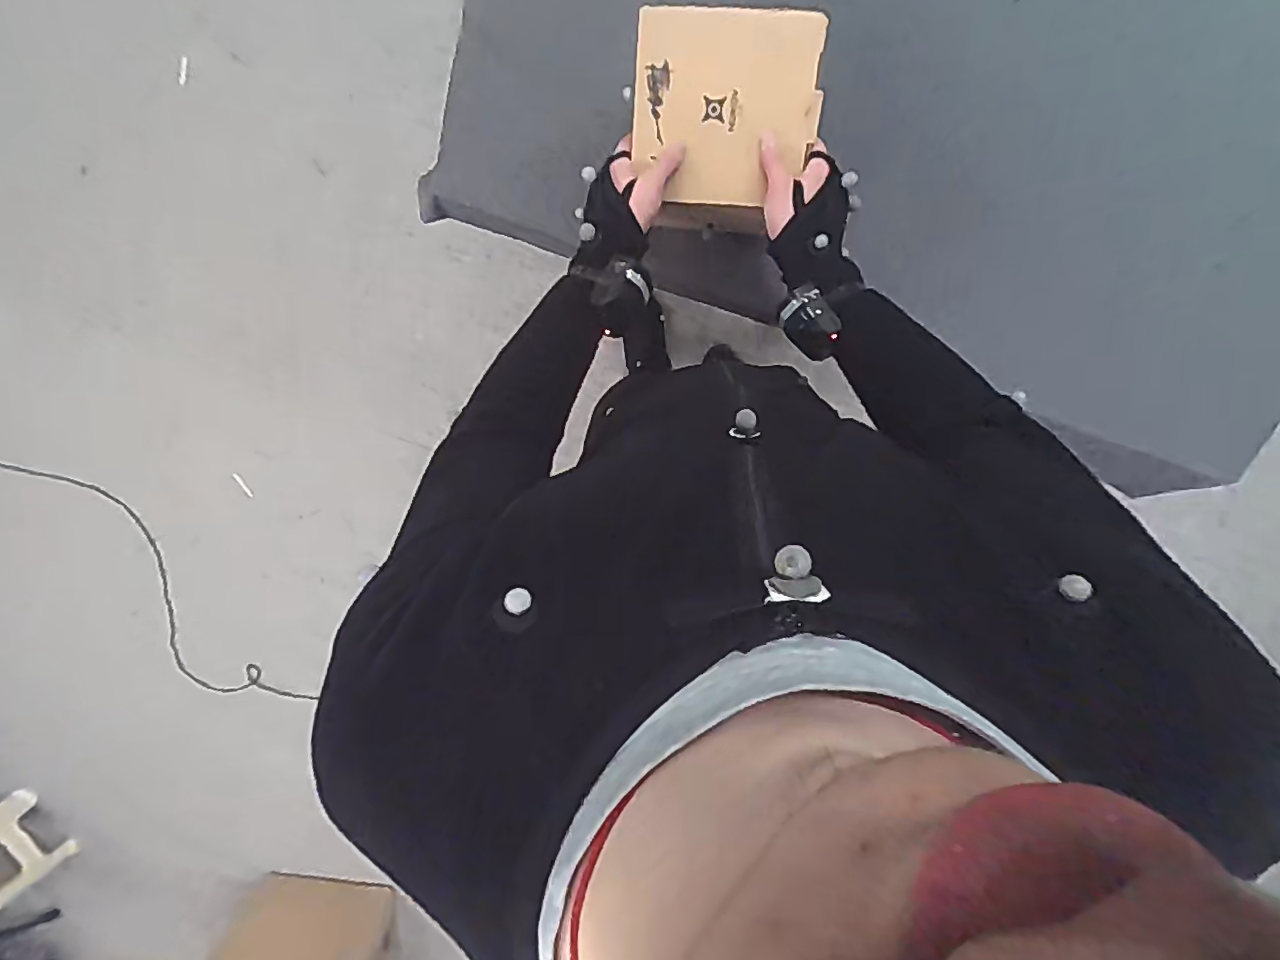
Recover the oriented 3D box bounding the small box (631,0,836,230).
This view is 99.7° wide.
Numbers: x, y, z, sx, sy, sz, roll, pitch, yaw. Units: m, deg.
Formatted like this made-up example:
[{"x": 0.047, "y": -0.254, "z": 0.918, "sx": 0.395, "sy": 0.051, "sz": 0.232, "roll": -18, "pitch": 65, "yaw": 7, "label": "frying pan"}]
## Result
[{"x": 0.088, "y": -0.376, "z": 0.590, "sx": 0.179, "sy": 0.176, "sz": 0.168, "roll": 6, "pitch": 108, "yaw": 1, "label": "small box"}]
